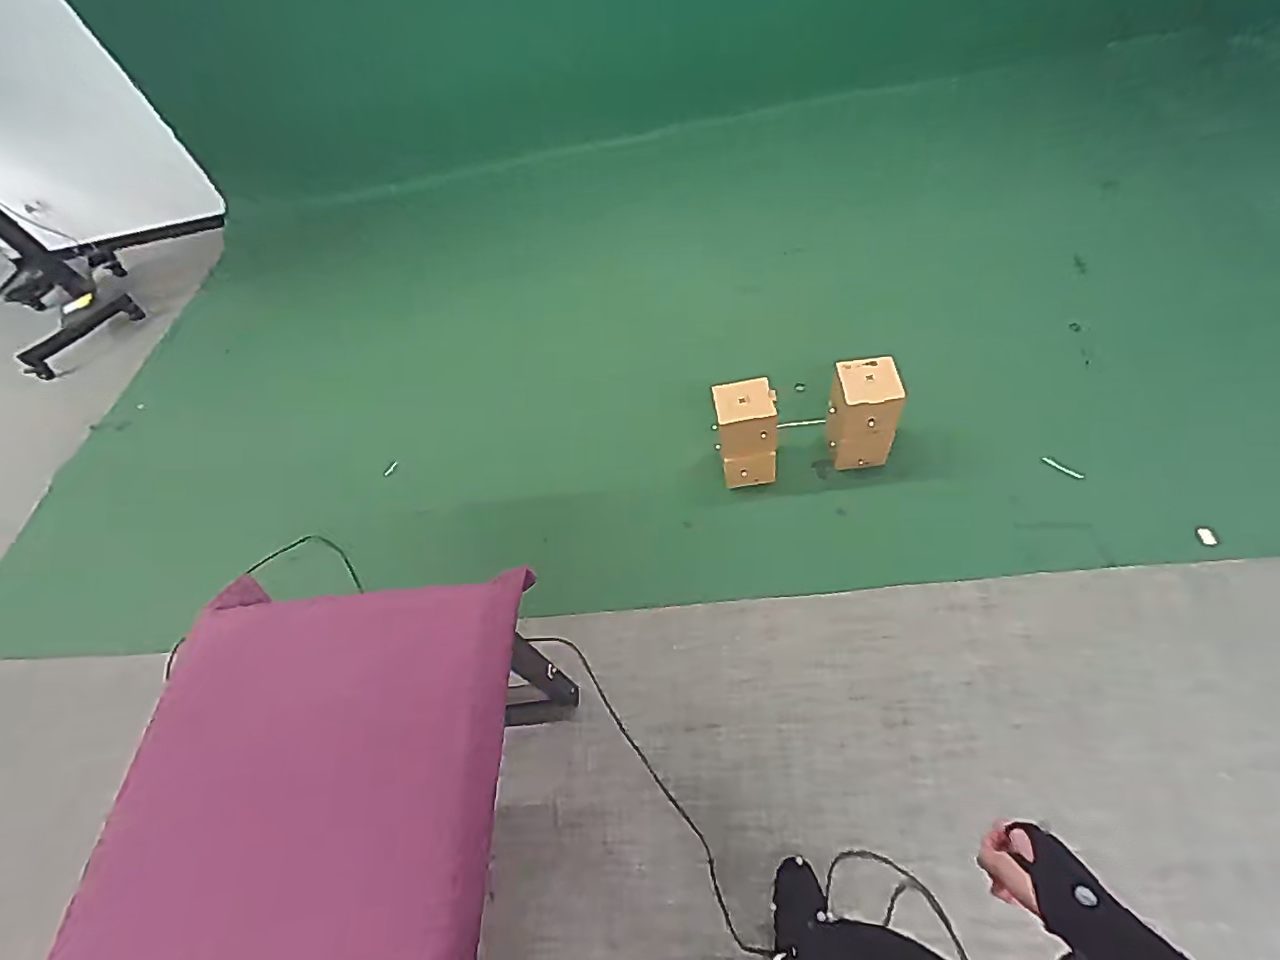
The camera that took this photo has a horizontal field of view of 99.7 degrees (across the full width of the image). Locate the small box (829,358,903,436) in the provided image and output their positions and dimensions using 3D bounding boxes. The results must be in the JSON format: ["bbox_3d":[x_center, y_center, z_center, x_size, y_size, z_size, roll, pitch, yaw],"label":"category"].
[{"bbox_3d":[0.693,-0.248,1.675,0.168,0.176,0.179,-5,57,8],"label":"small box"}]

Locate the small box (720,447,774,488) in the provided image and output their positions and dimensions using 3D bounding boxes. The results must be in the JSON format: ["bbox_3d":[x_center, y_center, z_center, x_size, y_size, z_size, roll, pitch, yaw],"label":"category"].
[{"bbox_3d":[0.360,-0.087,1.843,0.168,0.176,0.179,-9,53,7],"label":"small box"}]

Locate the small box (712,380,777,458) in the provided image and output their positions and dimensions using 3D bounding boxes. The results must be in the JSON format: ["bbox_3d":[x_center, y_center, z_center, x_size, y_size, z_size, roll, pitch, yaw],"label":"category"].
[{"bbox_3d":[0.331,-0.191,1.721,0.179,0.176,0.168,-9,53,7],"label":"small box"}]
